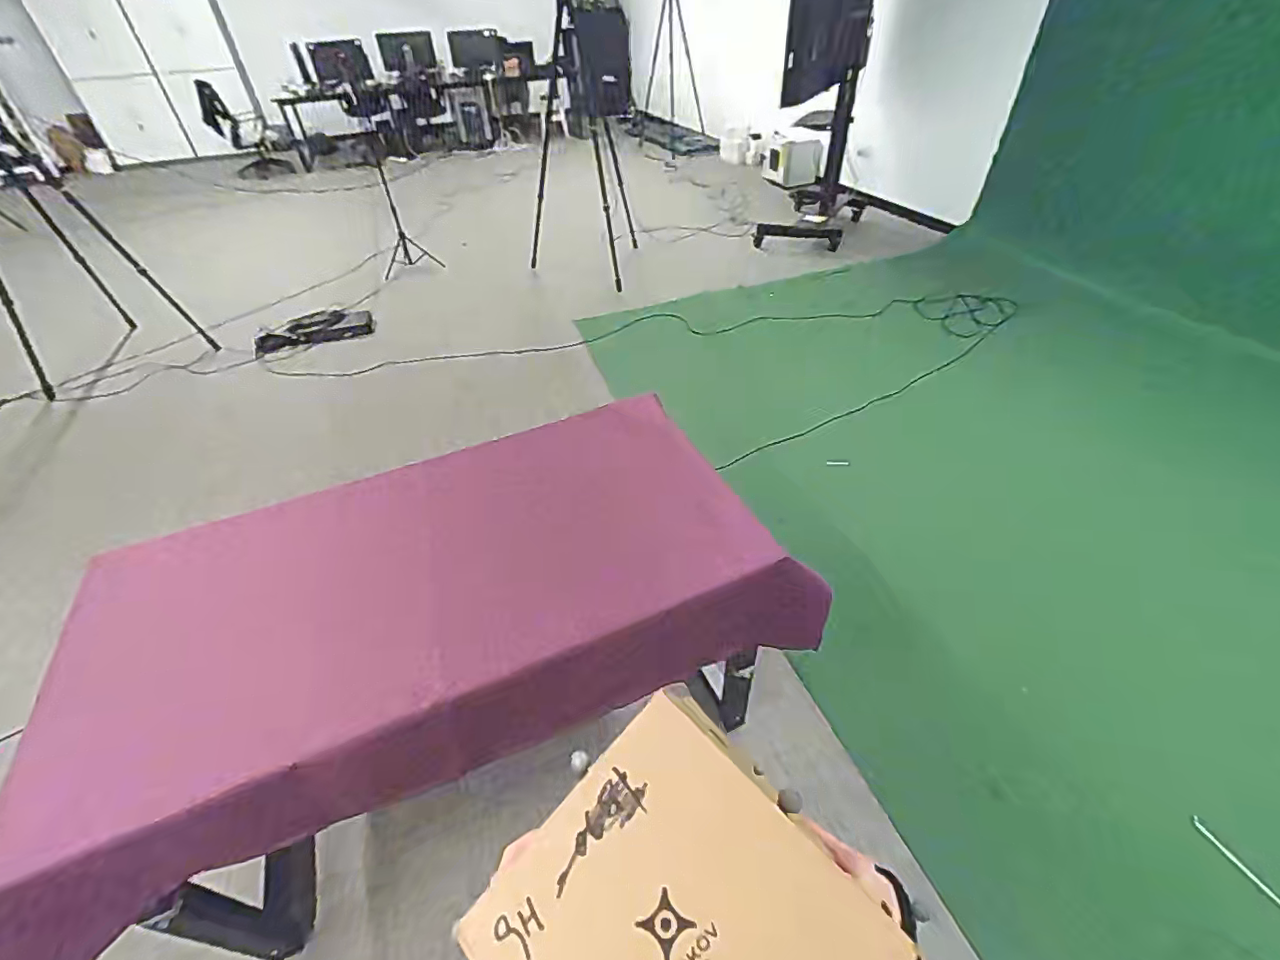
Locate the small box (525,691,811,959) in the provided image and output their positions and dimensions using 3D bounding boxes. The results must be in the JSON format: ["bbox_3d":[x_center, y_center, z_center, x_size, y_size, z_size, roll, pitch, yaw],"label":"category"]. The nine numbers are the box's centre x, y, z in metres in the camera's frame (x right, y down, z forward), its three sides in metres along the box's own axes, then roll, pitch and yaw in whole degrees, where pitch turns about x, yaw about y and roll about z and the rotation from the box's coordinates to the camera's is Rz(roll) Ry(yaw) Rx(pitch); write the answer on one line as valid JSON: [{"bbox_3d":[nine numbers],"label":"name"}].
[{"bbox_3d":[0.029,0.324,0.505,0.179,0.176,0.168,-43,70,-11],"label":"small box"}]
